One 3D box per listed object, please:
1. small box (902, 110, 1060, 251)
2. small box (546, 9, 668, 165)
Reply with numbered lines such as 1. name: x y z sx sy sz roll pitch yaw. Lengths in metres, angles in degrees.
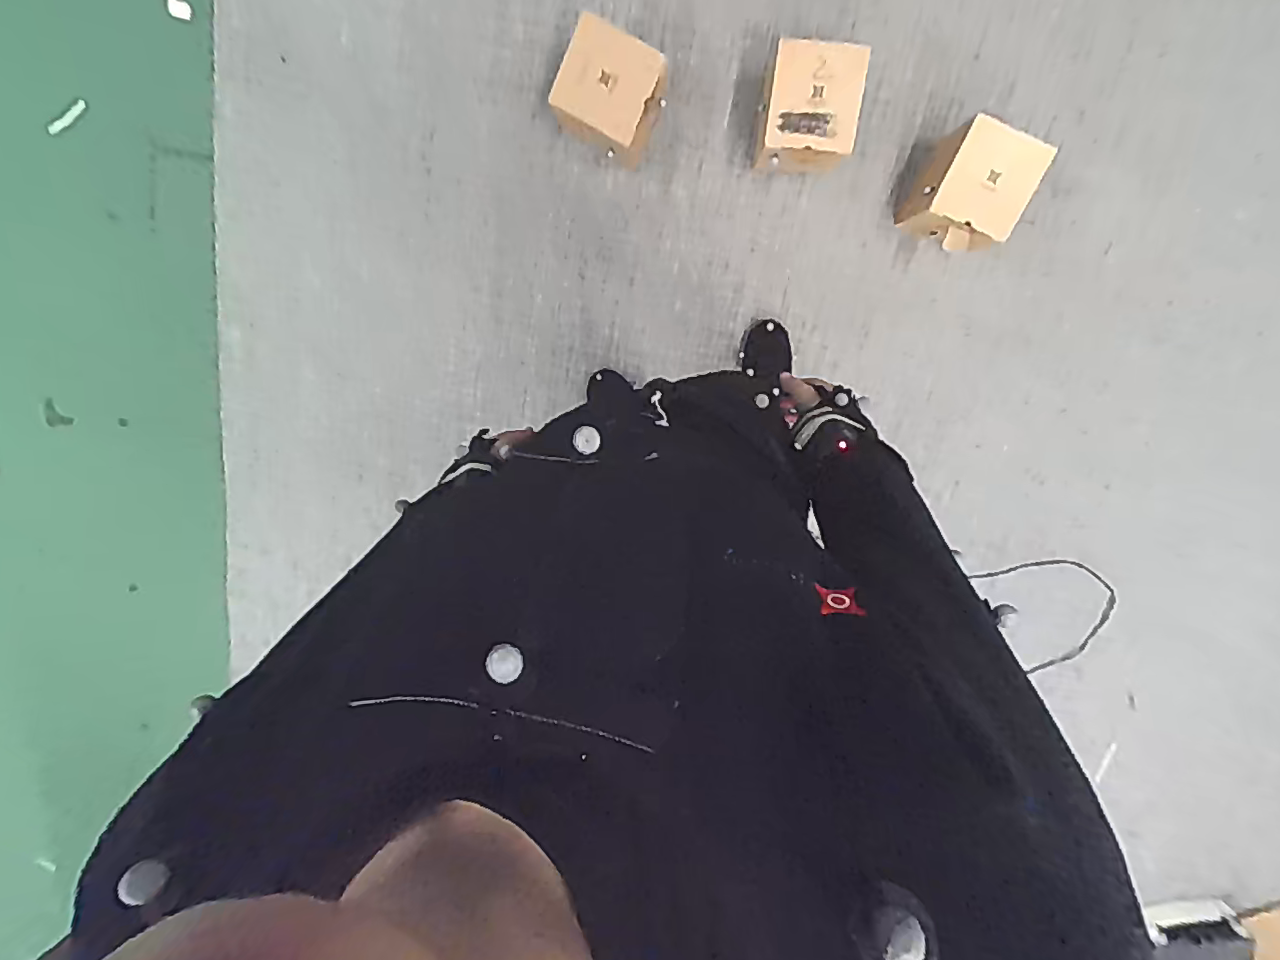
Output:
1. small box: 0.655 -0.577 1.068 0.168 0.176 0.179 22 107 -3
2. small box: -0.056 -0.752 1.062 0.179 0.176 0.168 27 104 -3
